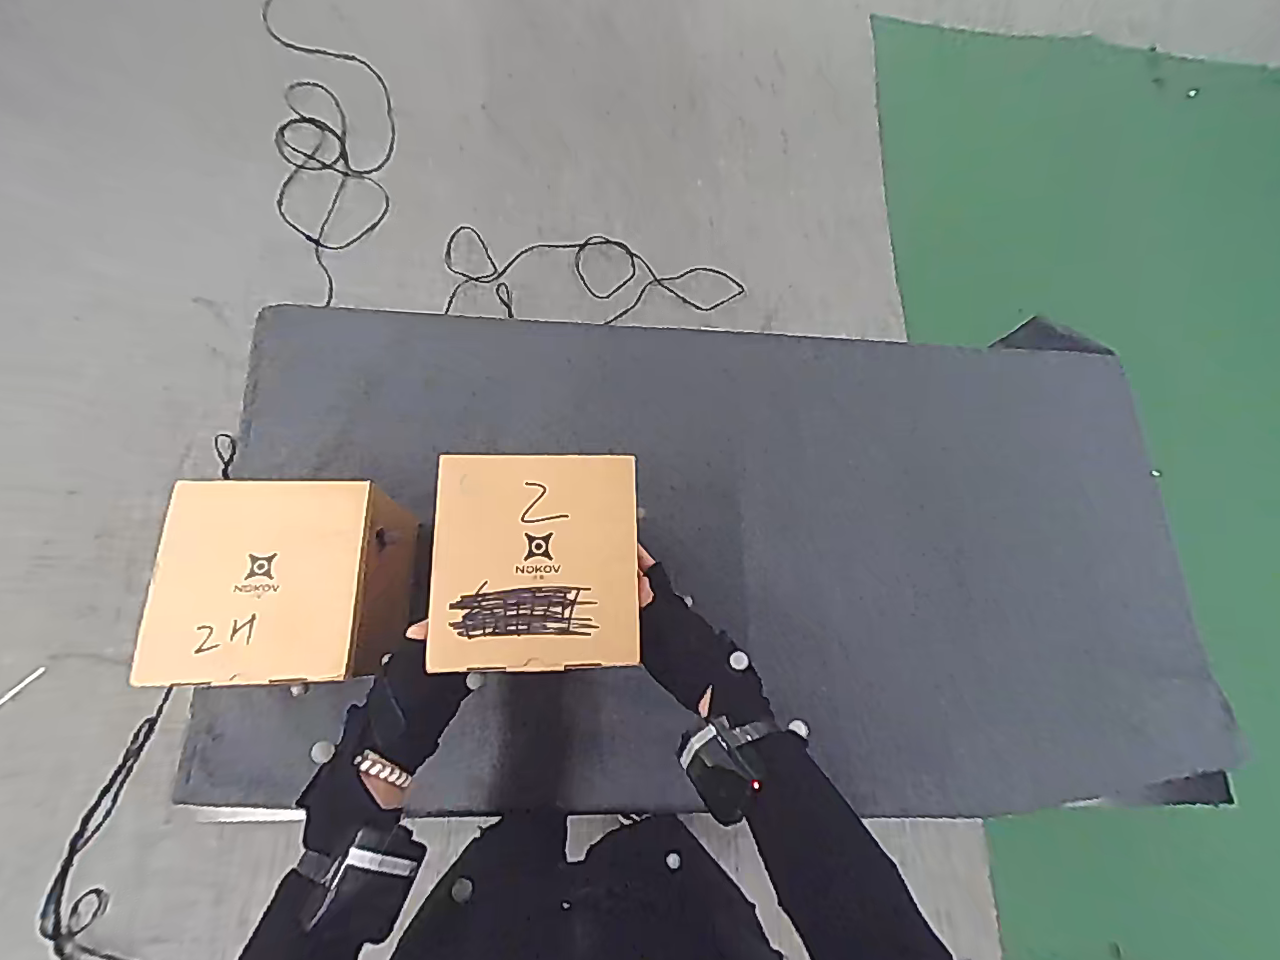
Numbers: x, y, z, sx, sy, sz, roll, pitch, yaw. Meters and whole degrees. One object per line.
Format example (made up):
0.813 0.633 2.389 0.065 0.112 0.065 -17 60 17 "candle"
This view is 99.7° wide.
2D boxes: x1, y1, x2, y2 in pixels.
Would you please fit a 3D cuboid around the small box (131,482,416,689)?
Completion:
-0.333 0.111 0.538 0.168 0.176 0.179 1 72 -7 "small box"
